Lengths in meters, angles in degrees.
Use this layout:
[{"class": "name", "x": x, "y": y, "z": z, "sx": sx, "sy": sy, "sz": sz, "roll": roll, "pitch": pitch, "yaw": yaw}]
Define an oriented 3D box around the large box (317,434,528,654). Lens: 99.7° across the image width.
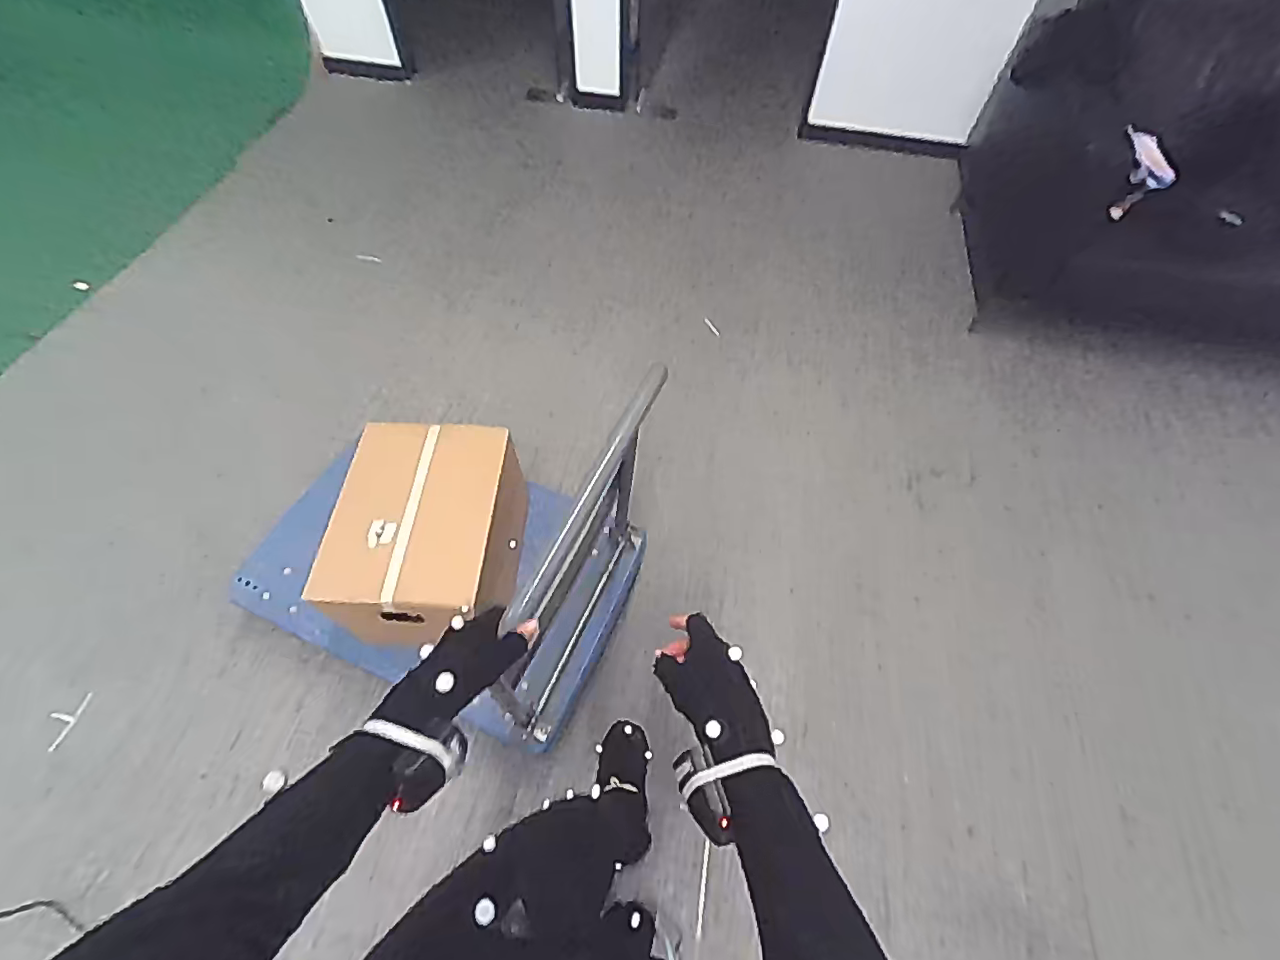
[{"class": "large box", "x": -0.443, "y": 0.149, "z": 1.216, "sx": 0.320, "sy": 0.320, "sz": 0.408, "roll": 2, "pitch": 59, "yaw": 0}]
